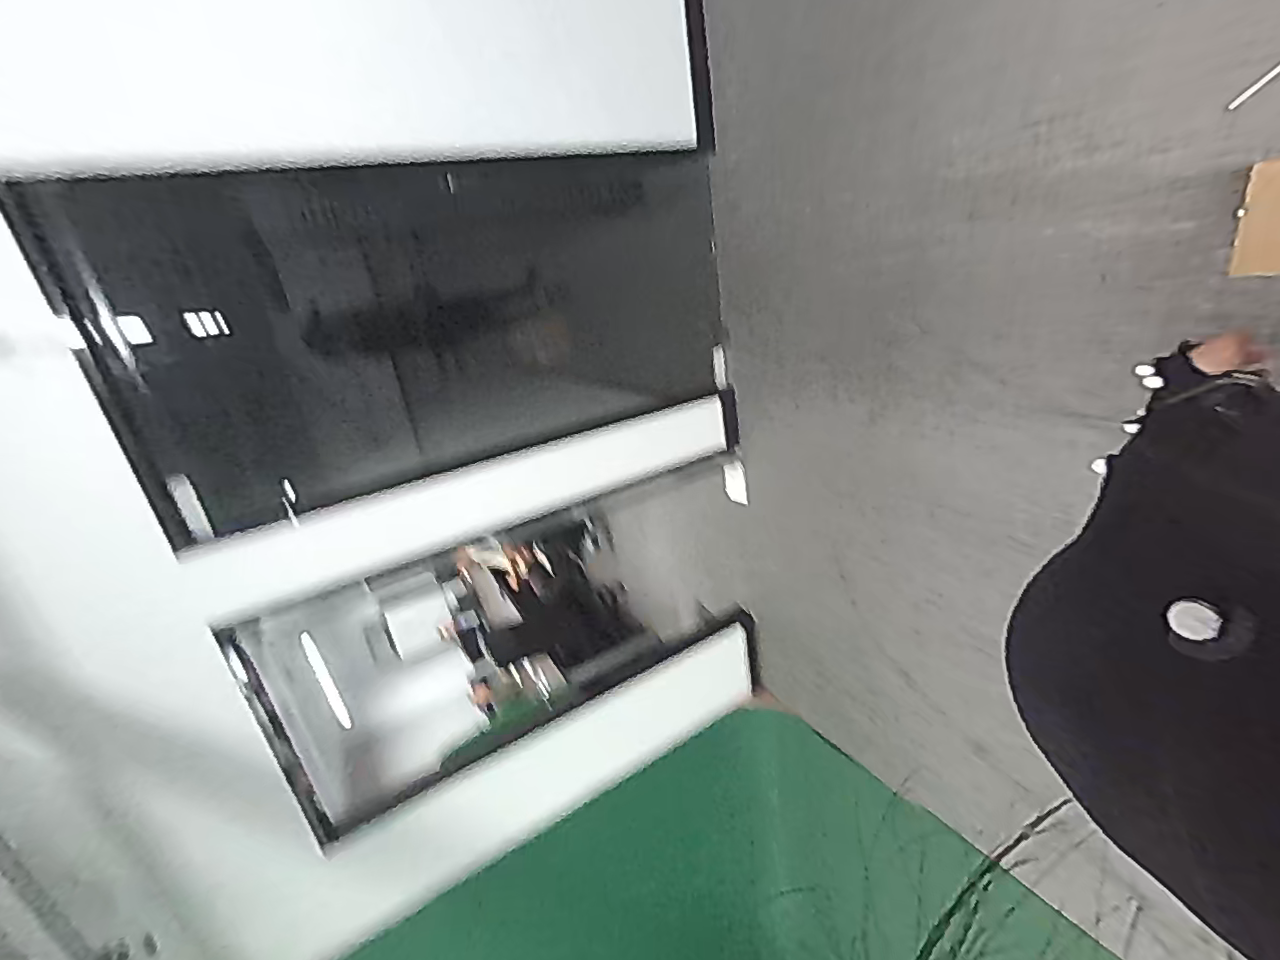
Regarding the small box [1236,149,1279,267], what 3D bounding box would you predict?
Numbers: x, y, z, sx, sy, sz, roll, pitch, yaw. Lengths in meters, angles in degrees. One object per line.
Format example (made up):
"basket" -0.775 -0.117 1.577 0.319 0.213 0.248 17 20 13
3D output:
"small box" 1.114 -0.446 0.861 0.168 0.176 0.179 26 131 56
